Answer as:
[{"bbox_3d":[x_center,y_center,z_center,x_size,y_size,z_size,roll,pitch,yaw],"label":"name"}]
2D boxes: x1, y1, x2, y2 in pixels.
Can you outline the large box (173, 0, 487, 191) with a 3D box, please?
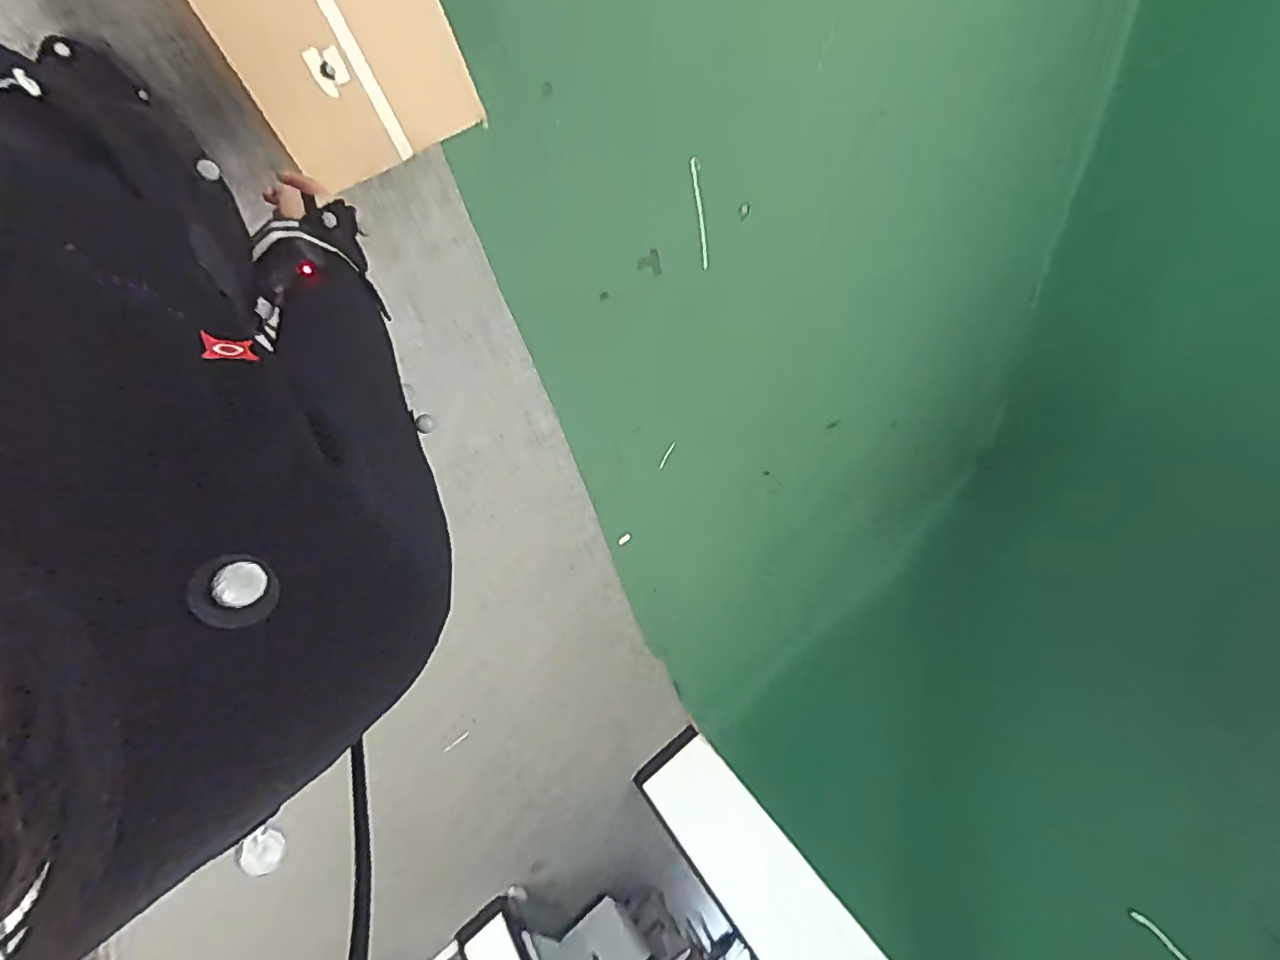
[{"bbox_3d":[-0.516,-0.737,0.835,0.320,0.320,0.408,-37,138,-15],"label":"large box"}]
